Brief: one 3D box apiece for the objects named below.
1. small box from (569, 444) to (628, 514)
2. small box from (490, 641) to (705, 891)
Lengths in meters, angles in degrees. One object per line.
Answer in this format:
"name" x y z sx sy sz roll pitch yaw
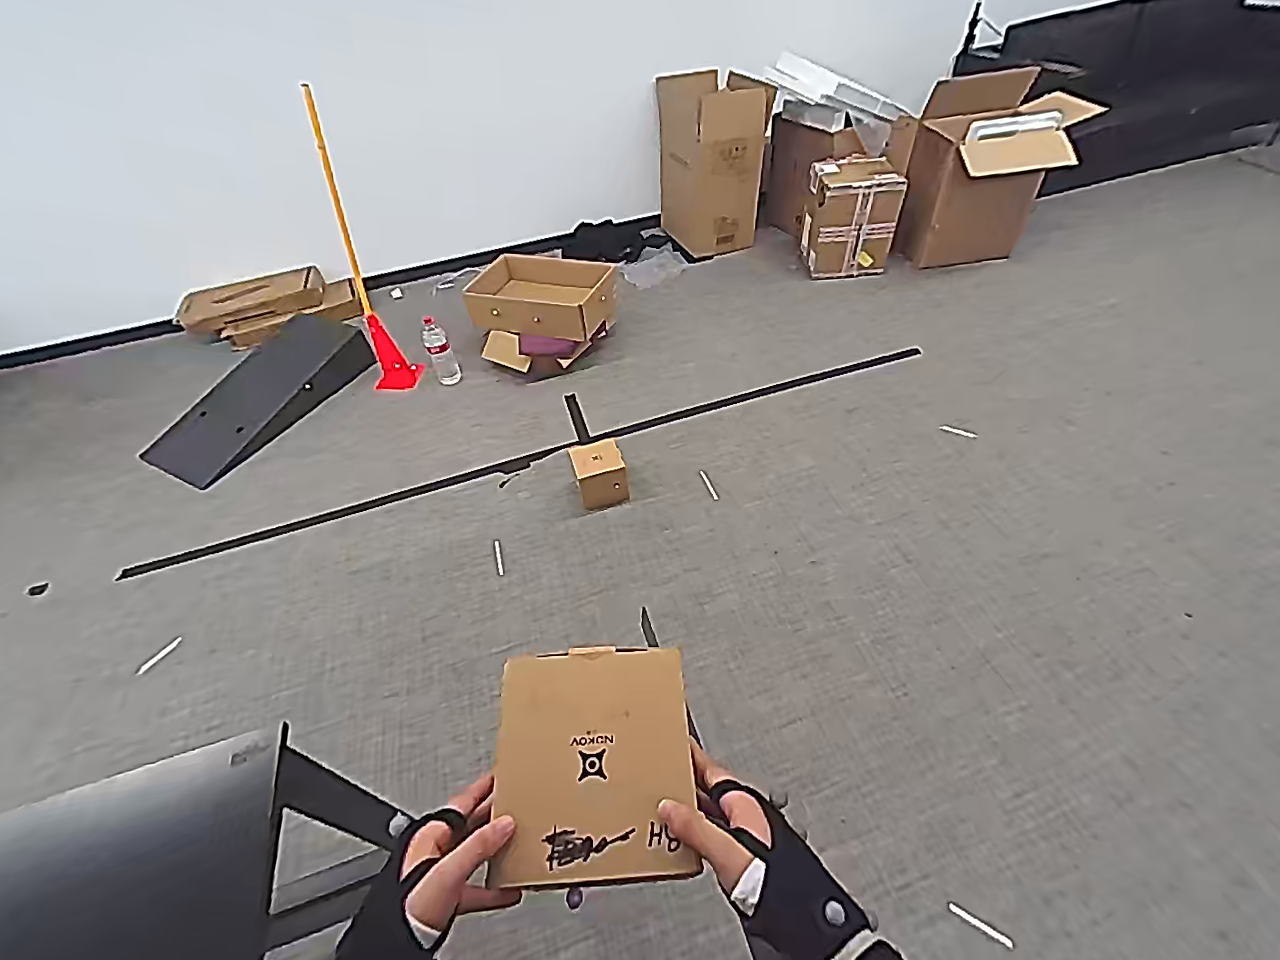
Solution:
"small box" -0.149 -0.002 2.000 0.179 0.176 0.168 -17 46 -8
"small box" -0.035 0.276 0.520 0.168 0.176 0.179 -5 51 -1
